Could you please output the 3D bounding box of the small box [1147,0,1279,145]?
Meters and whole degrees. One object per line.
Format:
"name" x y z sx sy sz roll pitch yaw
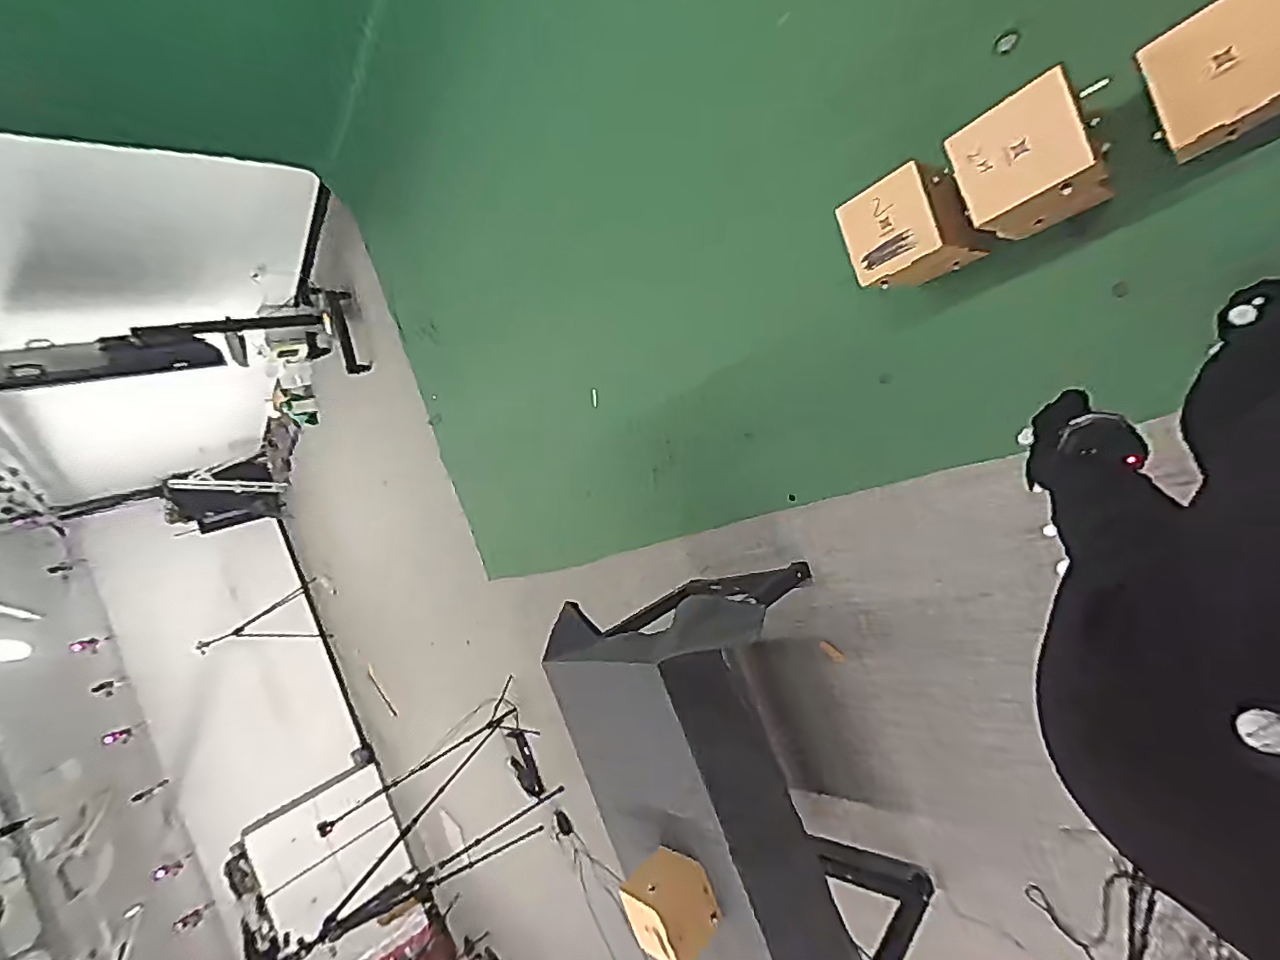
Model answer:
"small box" 0.958 -0.679 0.871 0.168 0.176 0.179 -22 89 50

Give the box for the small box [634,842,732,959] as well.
"small box" 0.120 1.100 1.426 0.179 0.176 0.168 -24 87 51
